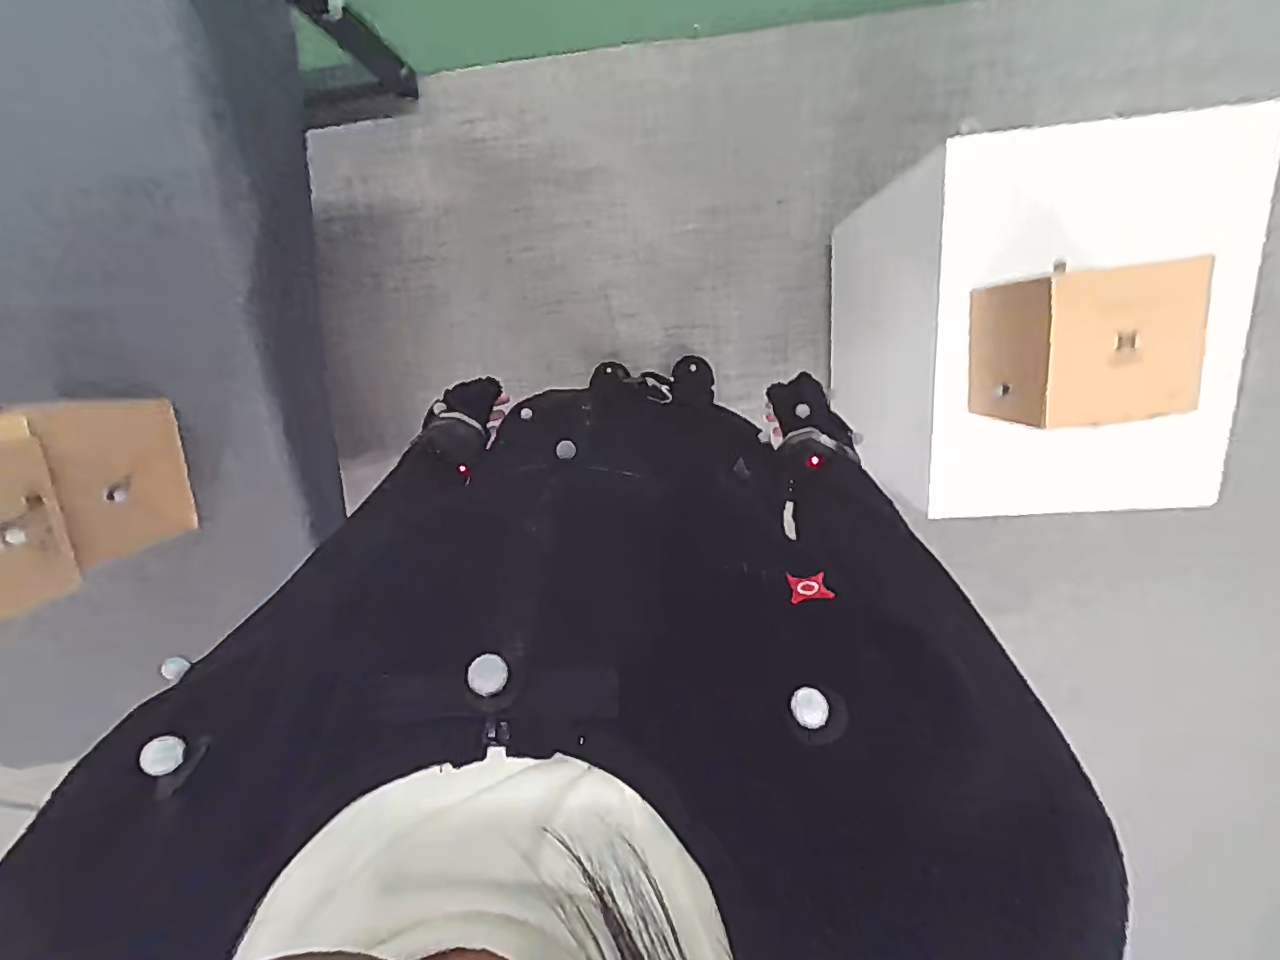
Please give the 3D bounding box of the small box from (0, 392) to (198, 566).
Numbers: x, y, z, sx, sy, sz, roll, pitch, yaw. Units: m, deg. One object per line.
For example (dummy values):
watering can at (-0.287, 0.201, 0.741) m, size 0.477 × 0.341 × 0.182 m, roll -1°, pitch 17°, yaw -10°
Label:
small box at (-0.692, -0.010, 0.658) m, size 0.168 × 0.176 × 0.179 m, roll 0°, pitch 105°, yaw 5°

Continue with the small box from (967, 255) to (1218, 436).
small box at (0.525, -0.159, 0.657) m, size 0.168 × 0.176 × 0.179 m, roll -6°, pitch 103°, yaw 5°
